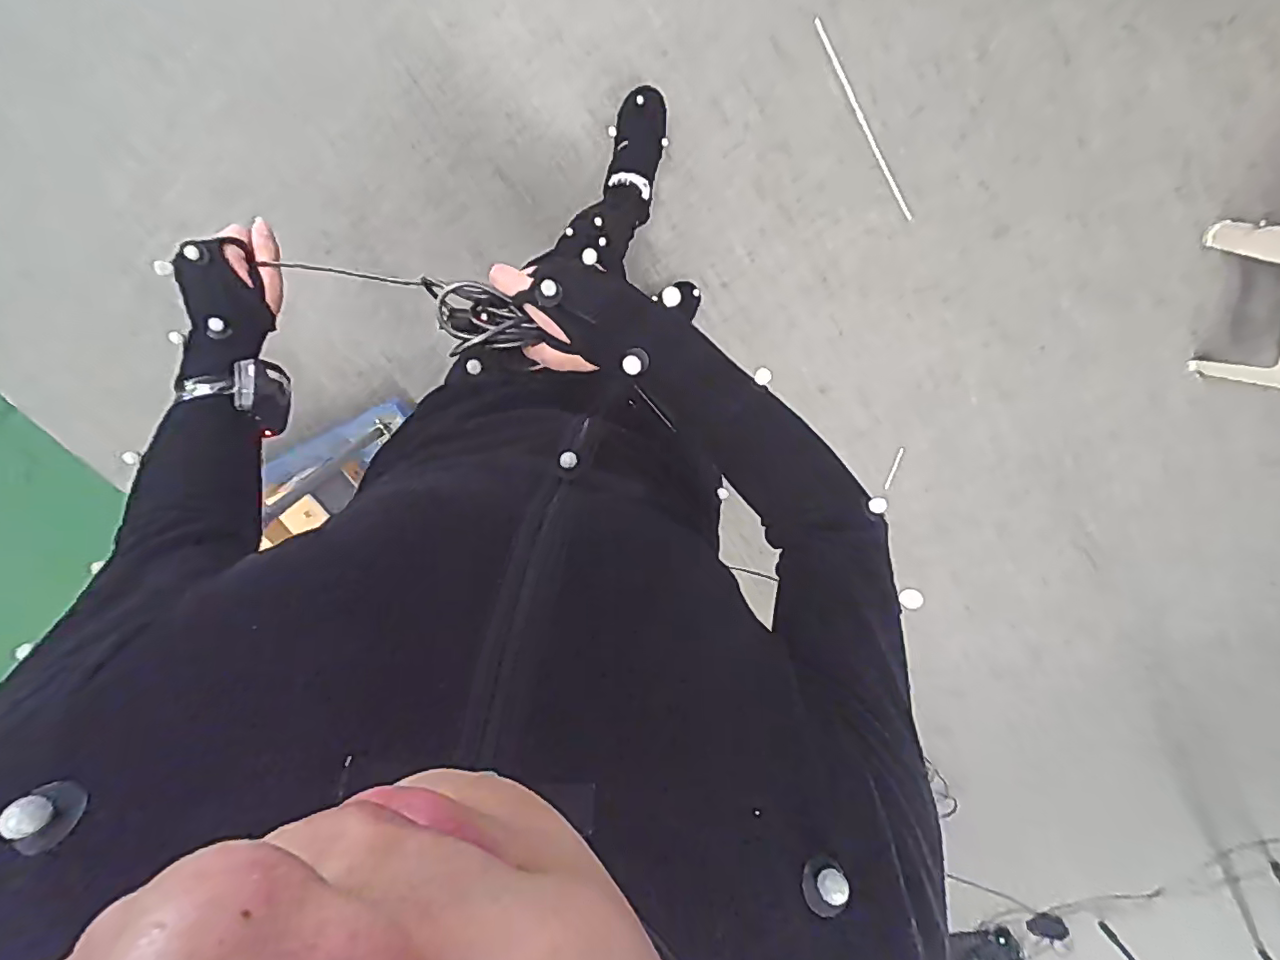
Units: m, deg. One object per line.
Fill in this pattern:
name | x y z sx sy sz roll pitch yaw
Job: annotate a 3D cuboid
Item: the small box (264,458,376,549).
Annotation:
small box | -0.887 0.062 1.517 0.179 0.176 0.168 -21 114 13
